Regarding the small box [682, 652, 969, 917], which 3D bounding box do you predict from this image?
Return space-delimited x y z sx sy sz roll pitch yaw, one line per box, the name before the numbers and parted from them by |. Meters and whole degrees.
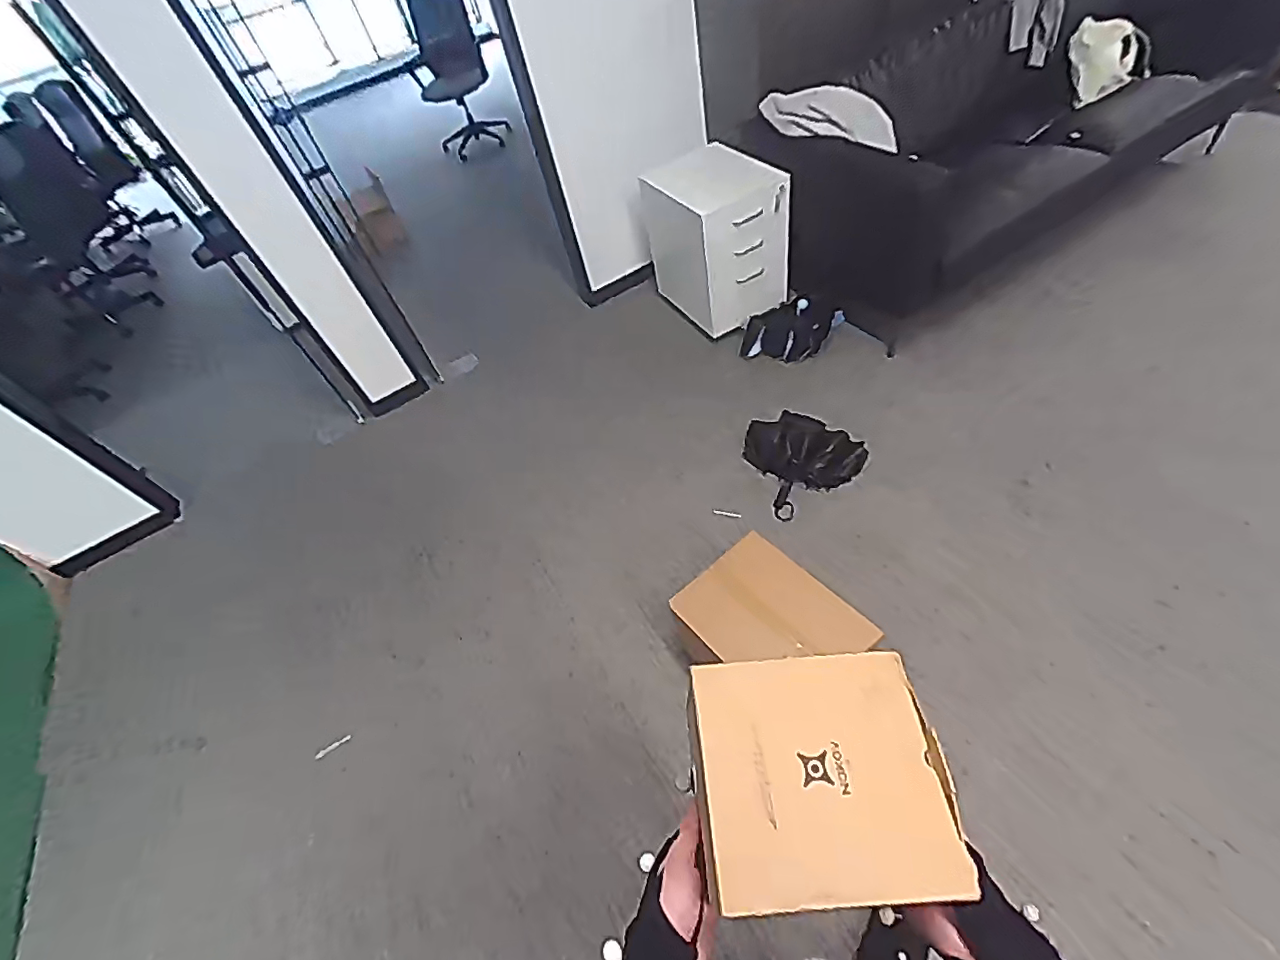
small box | 0.133 0.261 0.469 0.179 0.176 0.168 -6 54 0
